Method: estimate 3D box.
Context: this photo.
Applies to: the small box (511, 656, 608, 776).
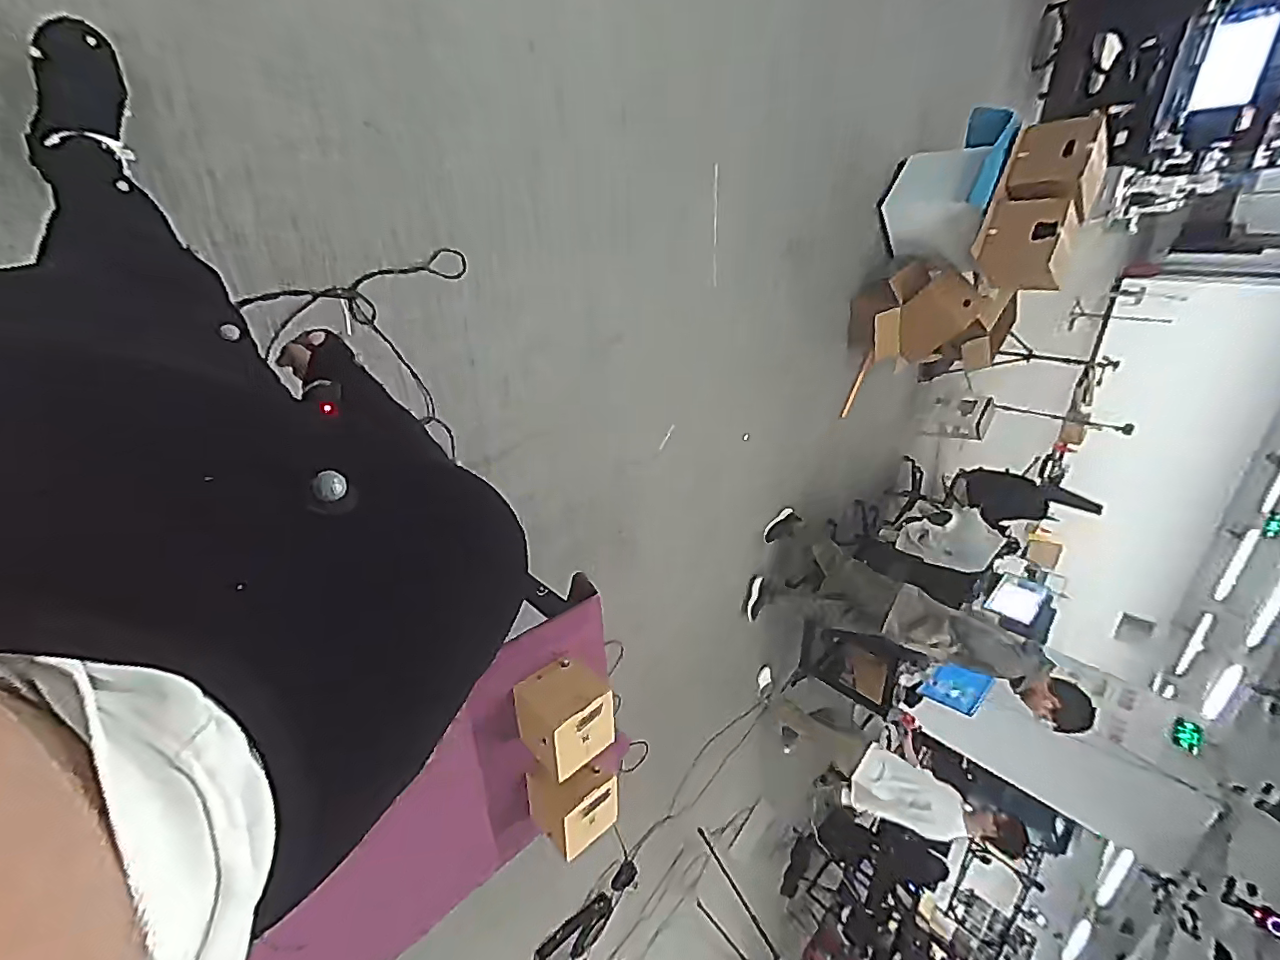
[{"bbox_3d":[-0.193,0.548,1.289,0.168,0.176,0.179,-23,124,-38],"label":"small box"}]
